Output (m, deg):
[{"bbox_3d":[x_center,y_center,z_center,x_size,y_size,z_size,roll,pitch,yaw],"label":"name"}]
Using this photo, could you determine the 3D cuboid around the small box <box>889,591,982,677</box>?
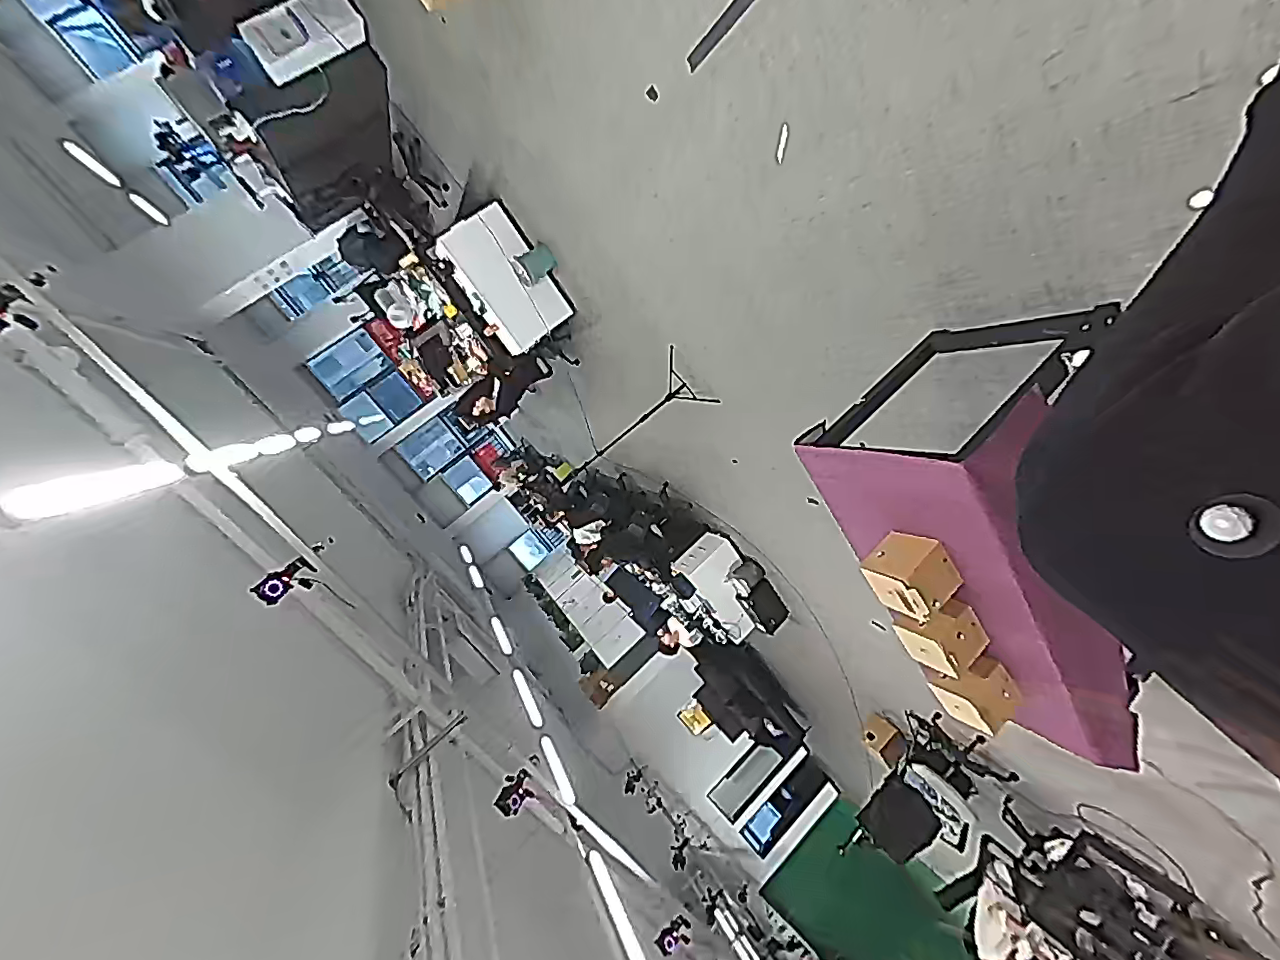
[{"bbox_3d":[0.938,0.478,1.705,0.168,0.176,0.179,54,166,-18],"label":"small box"}]

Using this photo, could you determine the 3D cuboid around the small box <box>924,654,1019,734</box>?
[{"bbox_3d":[1.092,0.687,1.781,0.168,0.176,0.179,51,166,-11],"label":"small box"}]
